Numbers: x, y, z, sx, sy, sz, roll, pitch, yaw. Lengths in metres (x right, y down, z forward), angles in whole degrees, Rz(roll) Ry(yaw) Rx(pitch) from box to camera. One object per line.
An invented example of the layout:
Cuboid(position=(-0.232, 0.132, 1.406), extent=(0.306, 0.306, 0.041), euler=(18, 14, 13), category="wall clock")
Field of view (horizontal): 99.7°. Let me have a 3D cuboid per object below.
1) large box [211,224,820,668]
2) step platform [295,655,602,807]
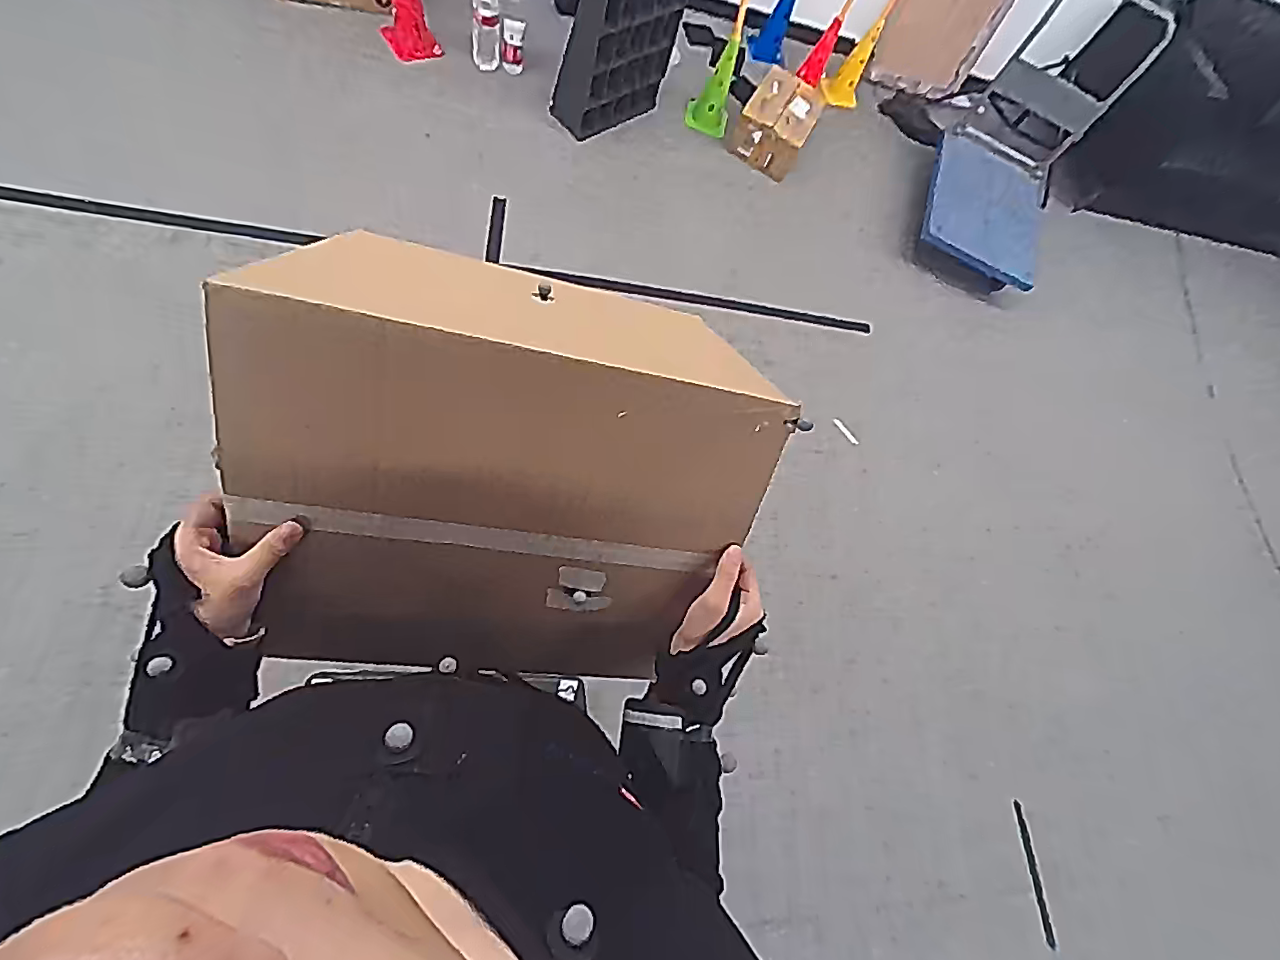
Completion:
Cuboid(position=(-0.114, -0.041, 0.548), extent=(0.408, 0.320, 0.320), euler=(8, 29, -15), category="large box")
Cuboid(position=(-0.437, 0.614, 1.327), extent=(0.684, 0.204, 0.286), euler=(11, 67, -13), category="step platform")
